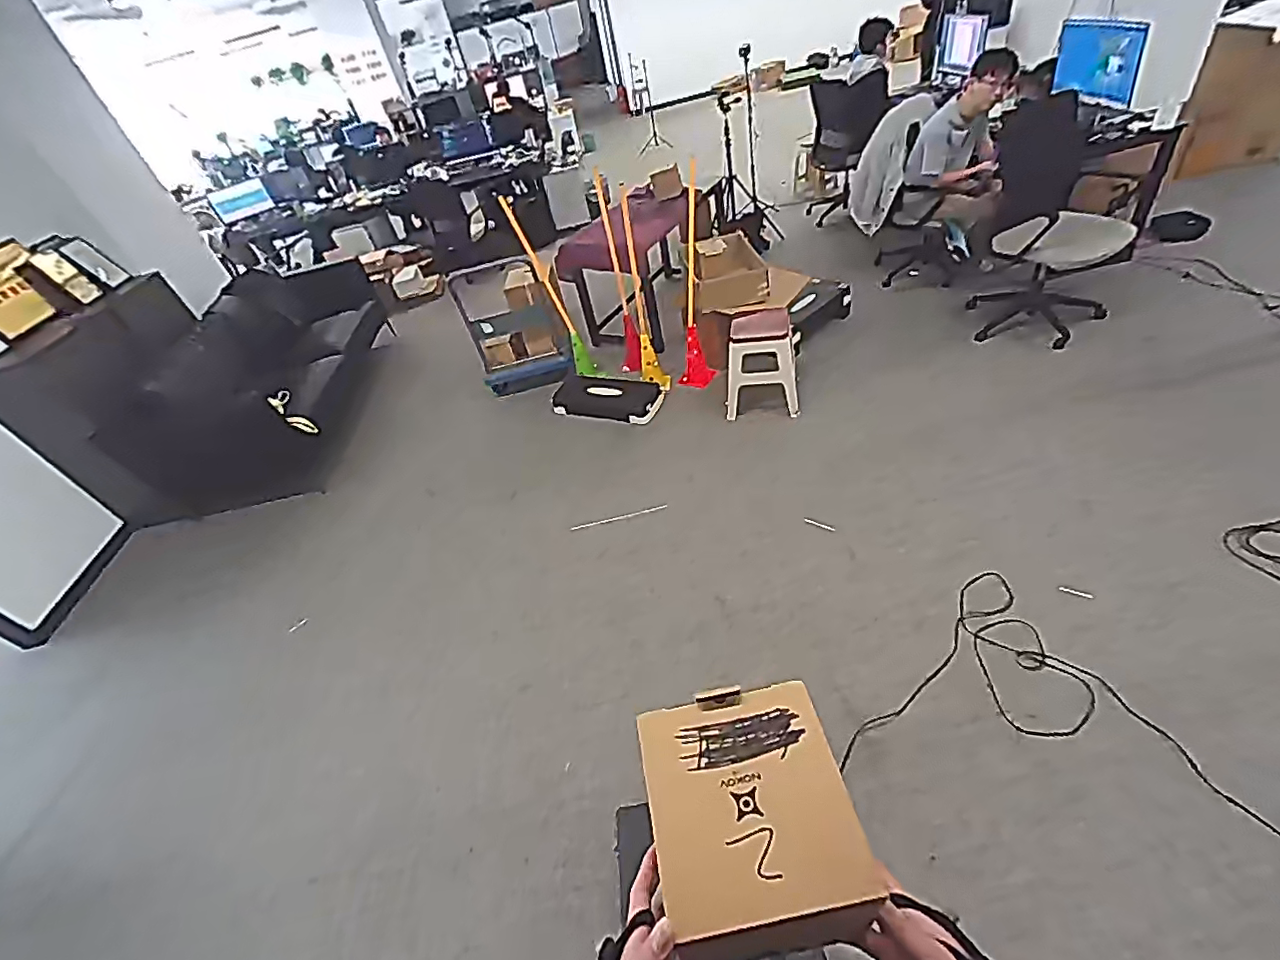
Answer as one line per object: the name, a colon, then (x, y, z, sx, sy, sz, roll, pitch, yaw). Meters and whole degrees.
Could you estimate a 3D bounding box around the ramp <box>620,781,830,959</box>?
ramp: (0.211, 1.214, 1.212, 0.509, 0.206, 0.991, -15, 40, 2)
